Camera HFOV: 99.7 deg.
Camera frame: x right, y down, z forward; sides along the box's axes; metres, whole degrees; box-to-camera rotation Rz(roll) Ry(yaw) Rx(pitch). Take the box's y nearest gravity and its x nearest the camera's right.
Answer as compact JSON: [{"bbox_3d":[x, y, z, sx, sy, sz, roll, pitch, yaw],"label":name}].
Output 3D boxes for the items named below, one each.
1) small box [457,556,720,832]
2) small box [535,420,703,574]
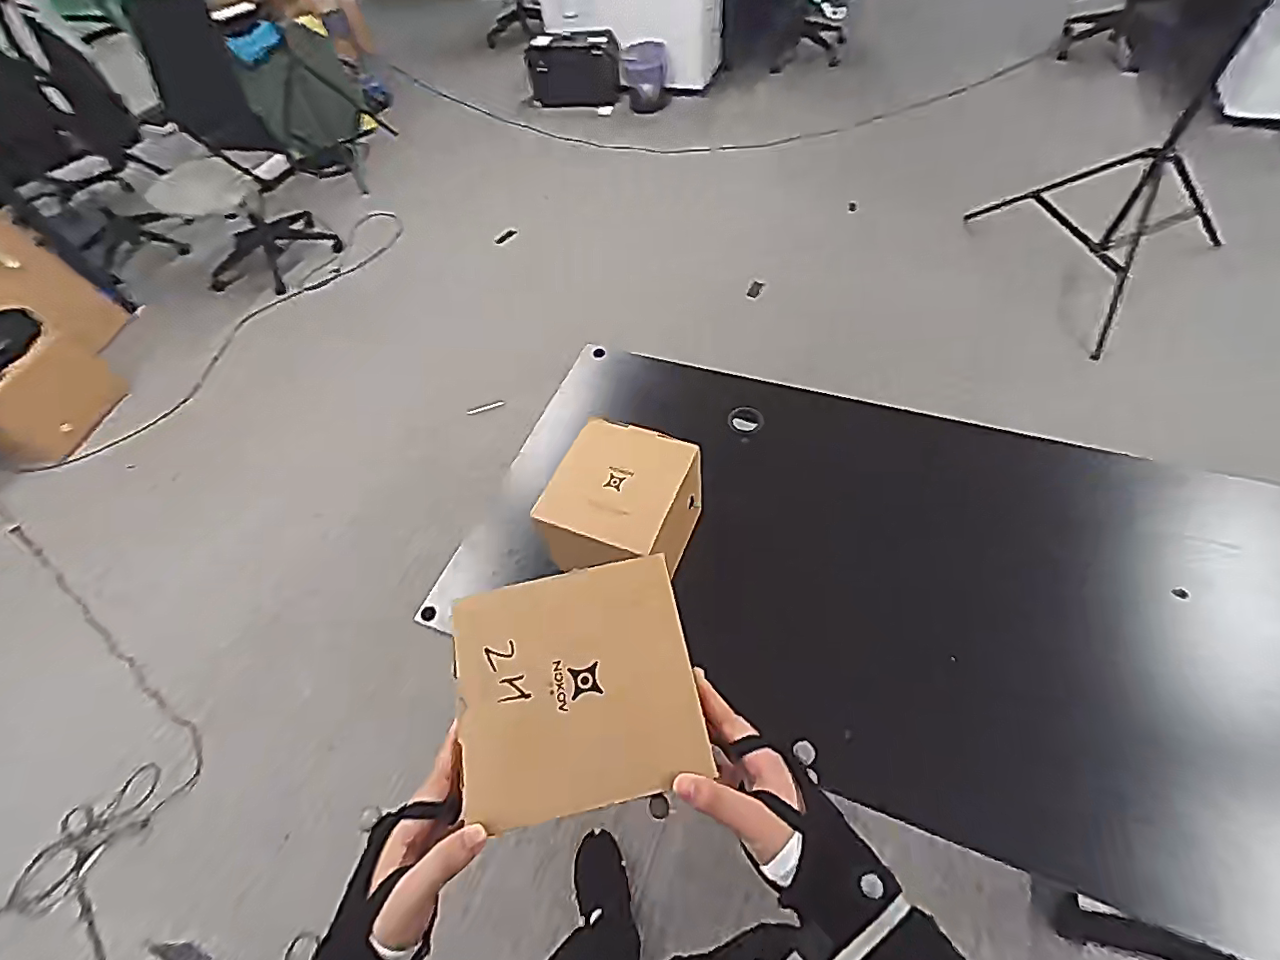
[{"bbox_3d":[-0.042,0.180,0.467,0.179,0.176,0.168,-11,64,-2],"label":"small box"},{"bbox_3d":[-0.018,0.049,0.755,0.168,0.176,0.179,16,60,18],"label":"small box"}]
